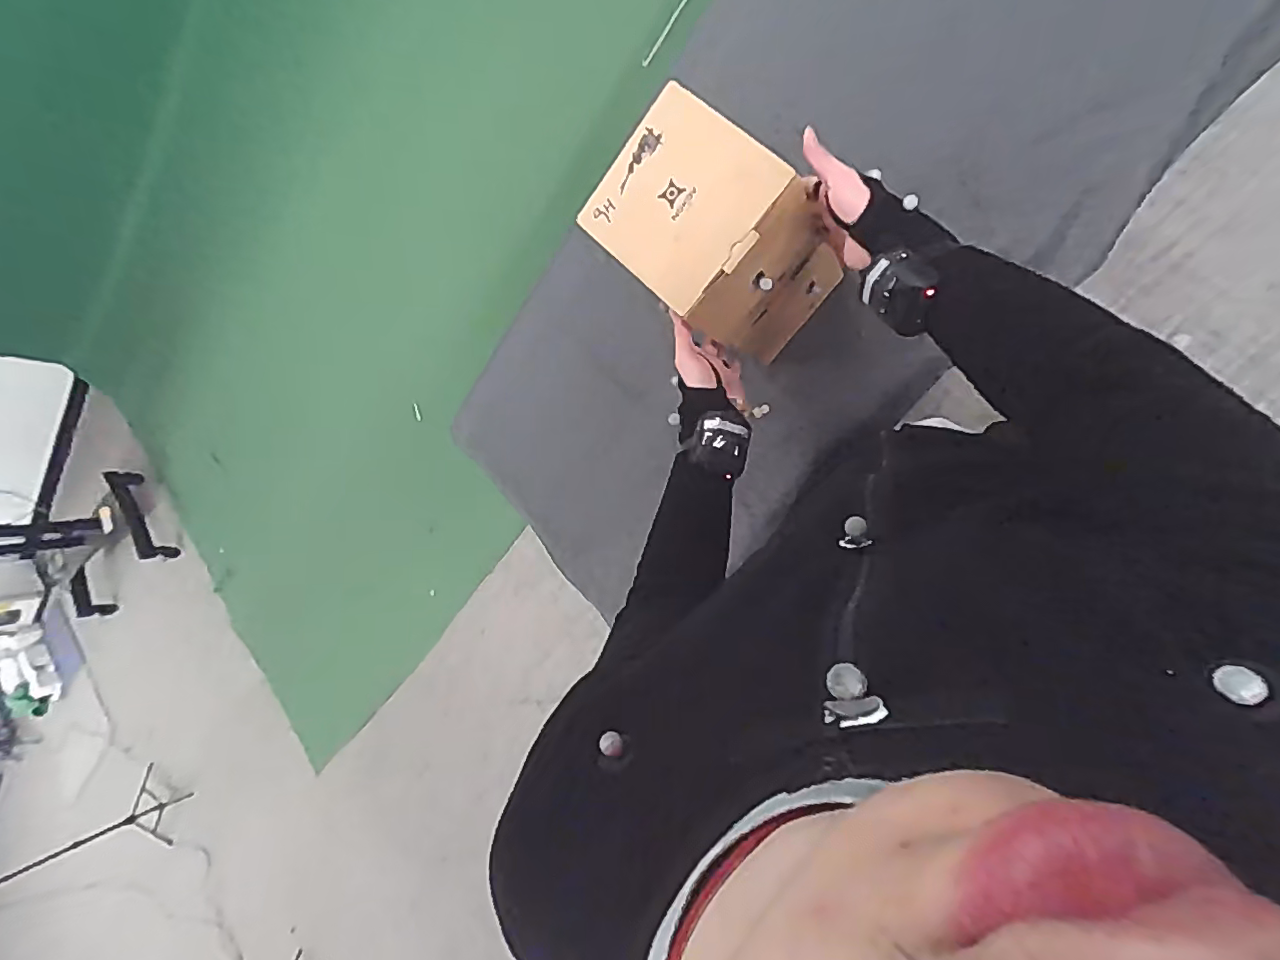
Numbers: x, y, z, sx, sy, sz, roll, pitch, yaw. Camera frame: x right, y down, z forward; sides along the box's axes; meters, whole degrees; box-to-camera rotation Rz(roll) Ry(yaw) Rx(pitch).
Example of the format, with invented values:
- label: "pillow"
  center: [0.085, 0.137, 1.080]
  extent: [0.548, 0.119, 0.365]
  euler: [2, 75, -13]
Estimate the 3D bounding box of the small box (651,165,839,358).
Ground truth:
- label: "small box"
  center: [0.154, -0.289, 0.759]
  extent: [0.179, 0.176, 0.168]
  euler: [46, 110, 18]
